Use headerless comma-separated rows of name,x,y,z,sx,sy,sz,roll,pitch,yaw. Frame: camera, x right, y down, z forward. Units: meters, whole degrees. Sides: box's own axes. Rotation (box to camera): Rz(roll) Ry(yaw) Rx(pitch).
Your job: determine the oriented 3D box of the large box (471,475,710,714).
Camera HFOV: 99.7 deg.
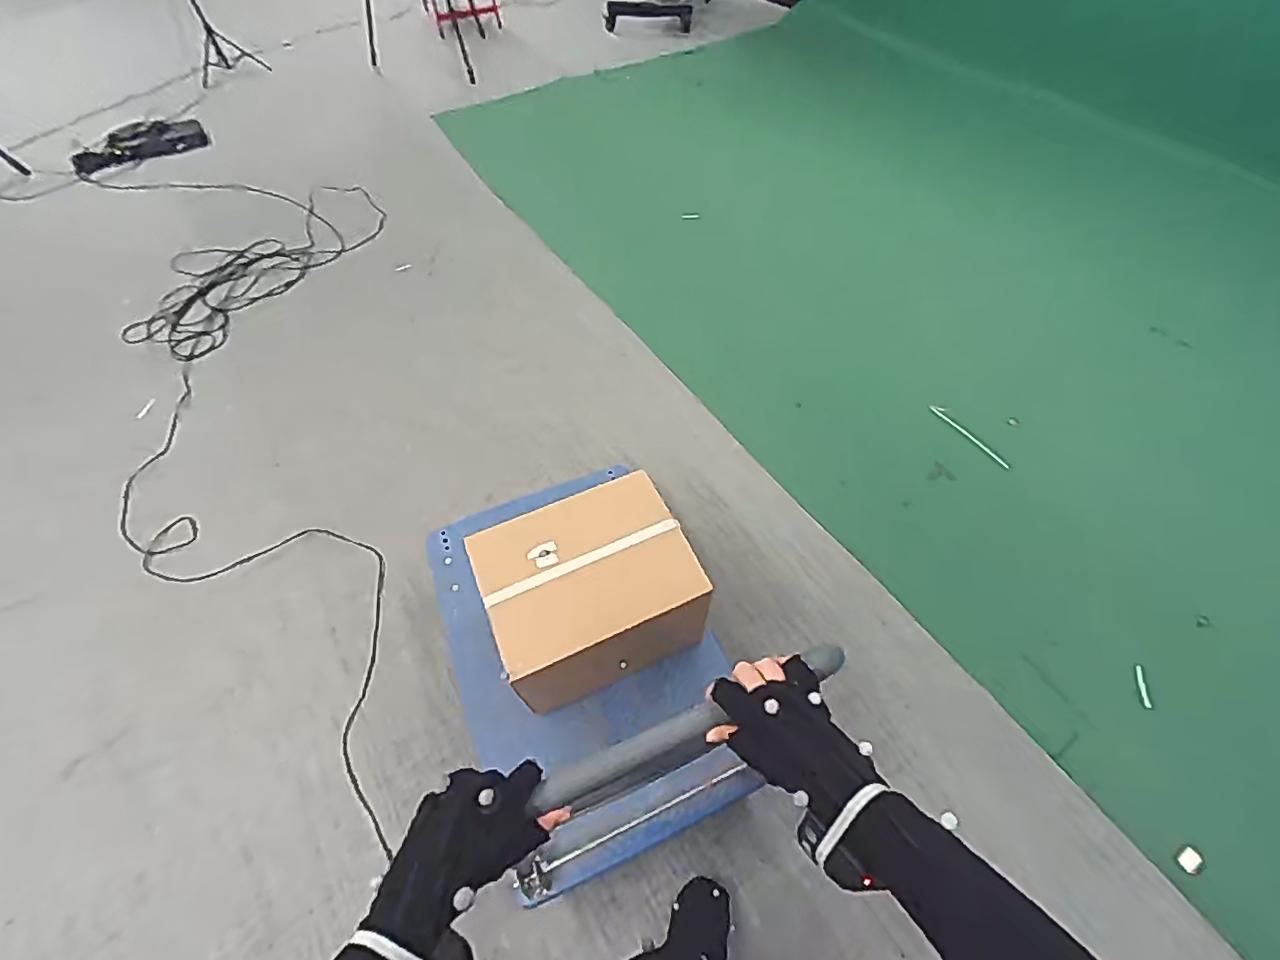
large box,-0.098,0.255,1.193,0.408,0.320,0.320,-23,57,-12
